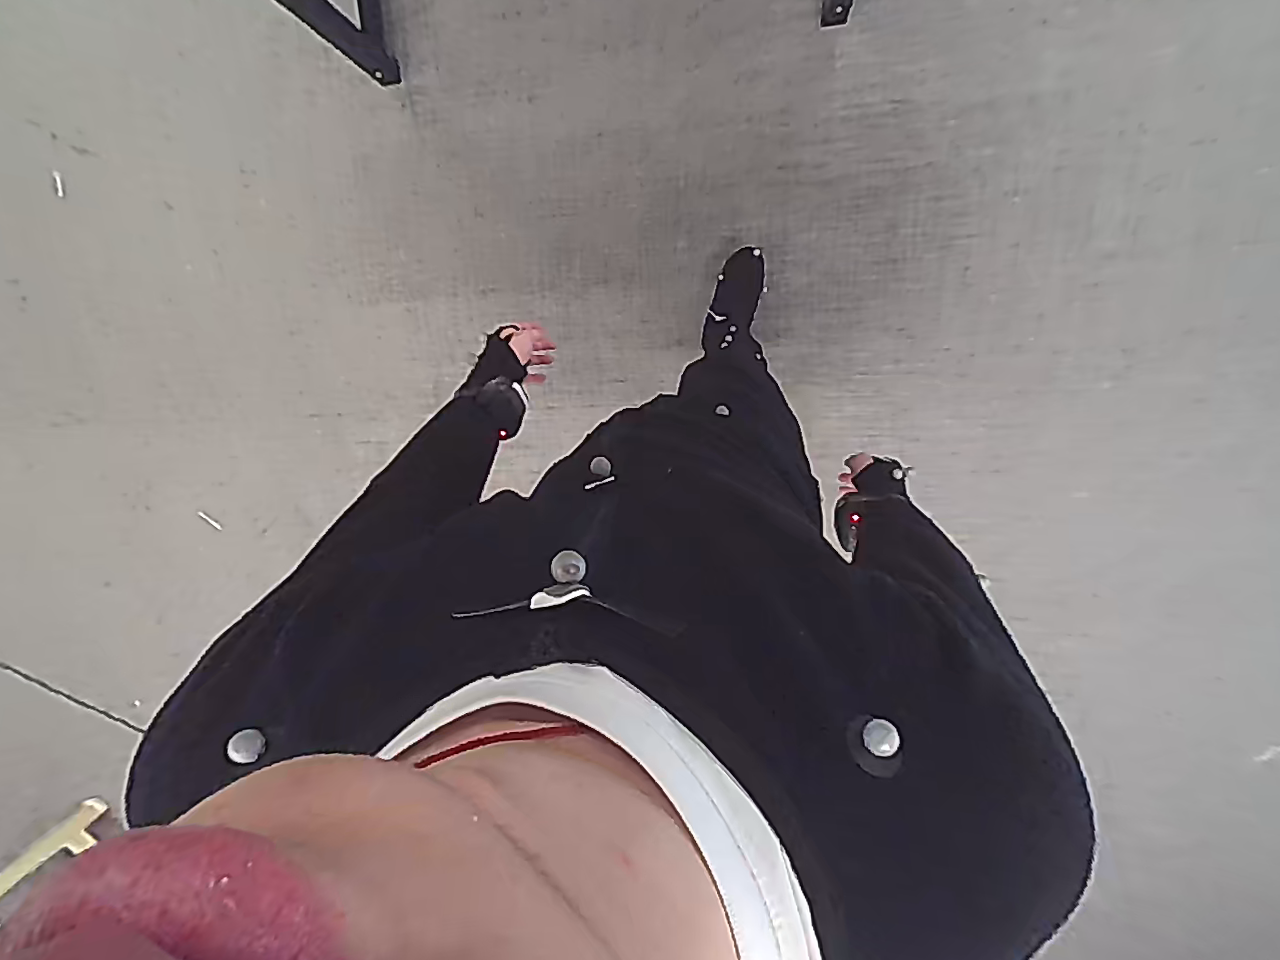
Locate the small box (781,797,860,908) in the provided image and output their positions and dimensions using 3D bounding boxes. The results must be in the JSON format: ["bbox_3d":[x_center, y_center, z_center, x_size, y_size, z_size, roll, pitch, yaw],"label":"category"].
[{"bbox_3d":[0.478,1.000,1.458,0.168,0.176,0.179,1,103,5],"label":"small box"}]
